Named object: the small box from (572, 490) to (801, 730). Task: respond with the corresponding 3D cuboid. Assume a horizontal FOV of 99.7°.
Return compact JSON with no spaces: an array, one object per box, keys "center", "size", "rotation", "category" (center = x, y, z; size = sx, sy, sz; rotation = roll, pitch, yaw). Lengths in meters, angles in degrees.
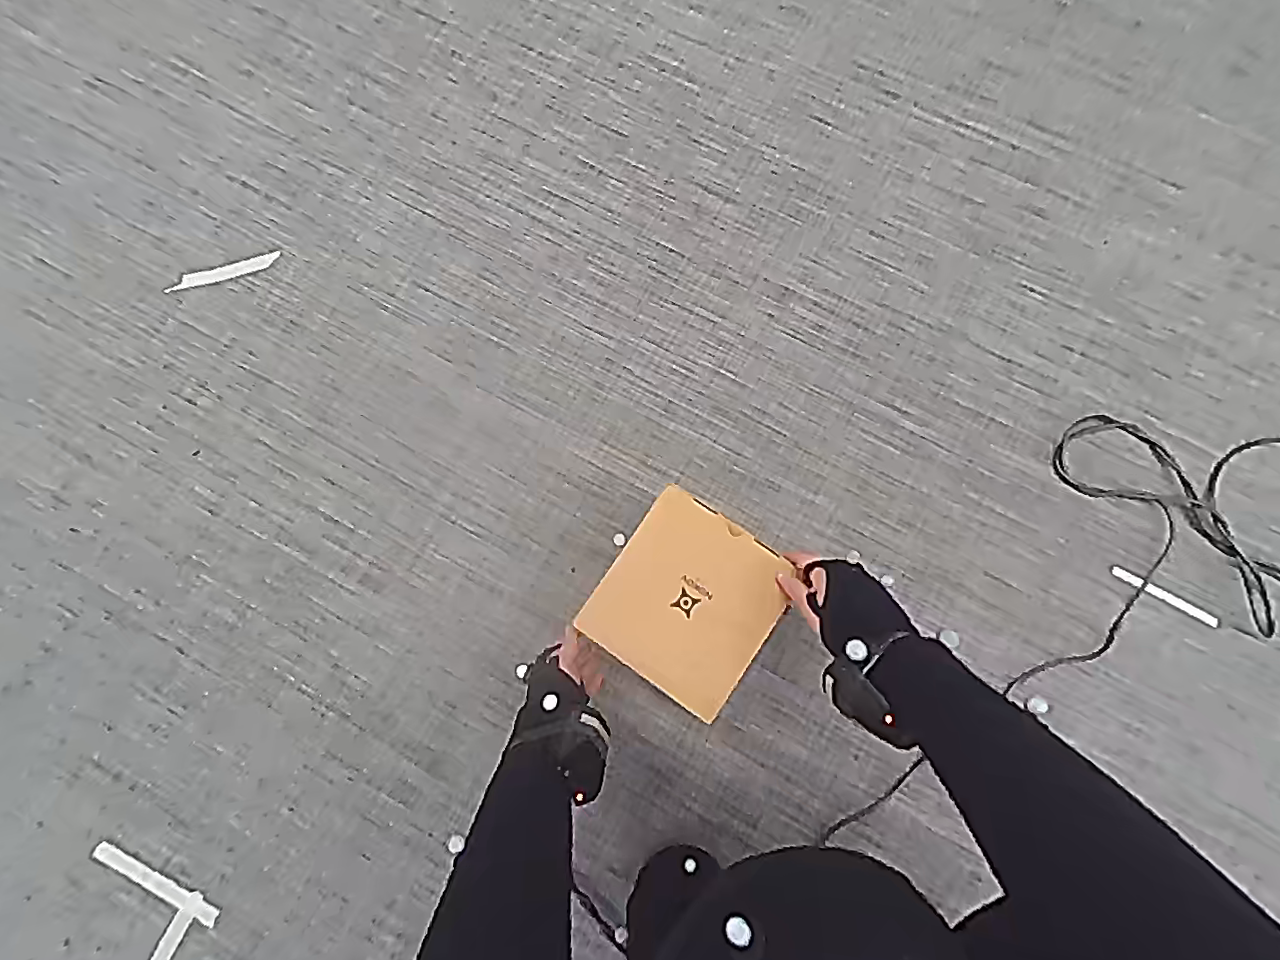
[{"center":[0.050,0.137,0.608],"size":[0.168,0.176,0.179],"rotation":[34,83,7],"category":"small box"}]
